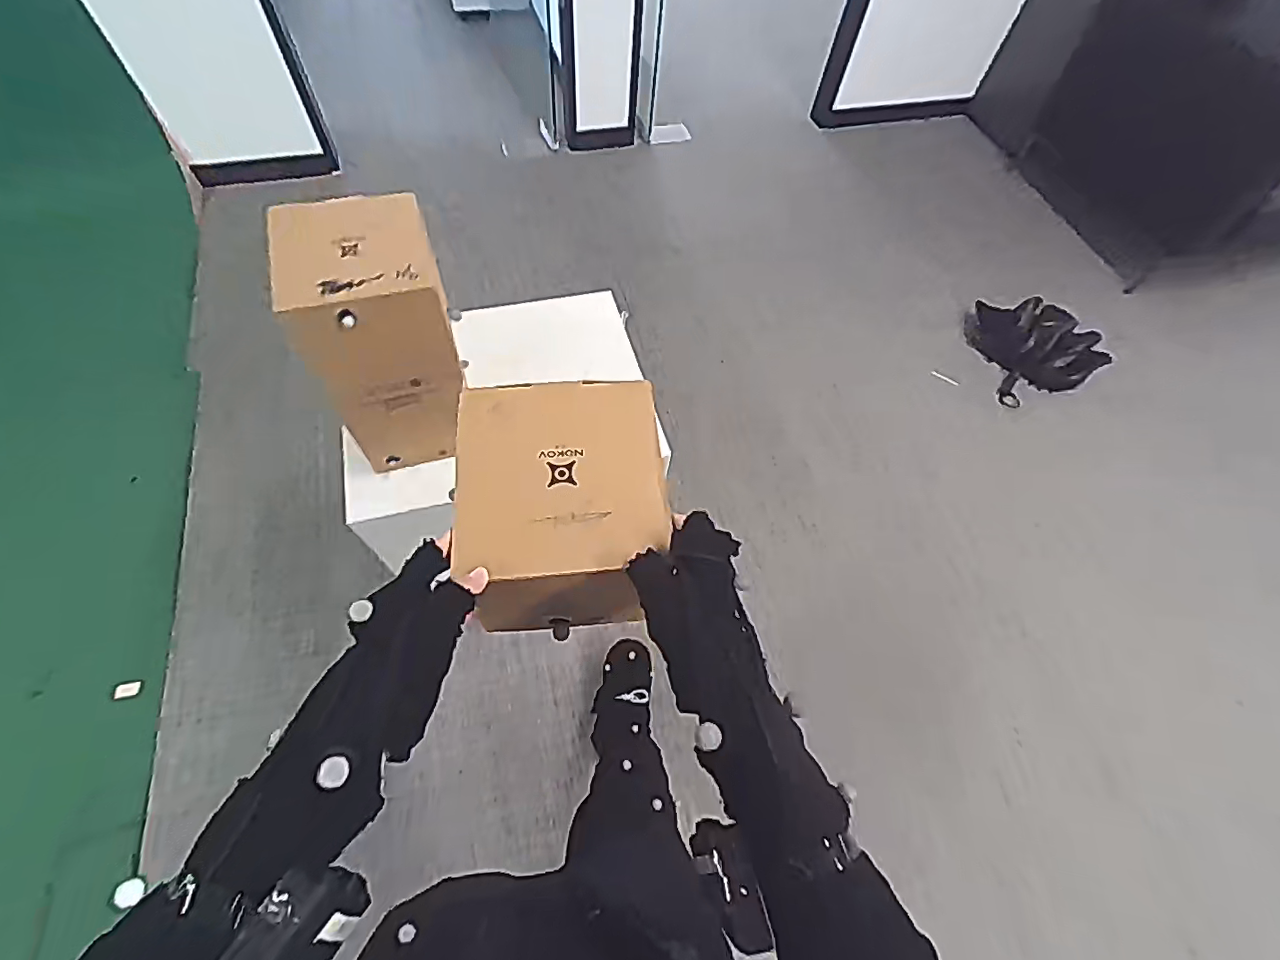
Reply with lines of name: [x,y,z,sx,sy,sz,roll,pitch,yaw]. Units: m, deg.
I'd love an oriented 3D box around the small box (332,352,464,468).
small box: [-0.353,-0.134,0.826,0.168,0.176,0.179,-15,62,-13]

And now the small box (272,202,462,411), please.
small box: [-0.336,-0.217,0.687,0.168,0.176,0.179,-15,62,-13]

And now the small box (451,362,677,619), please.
small box: [-0.068,0.015,0.499,0.168,0.176,0.179,-5,63,-6]
